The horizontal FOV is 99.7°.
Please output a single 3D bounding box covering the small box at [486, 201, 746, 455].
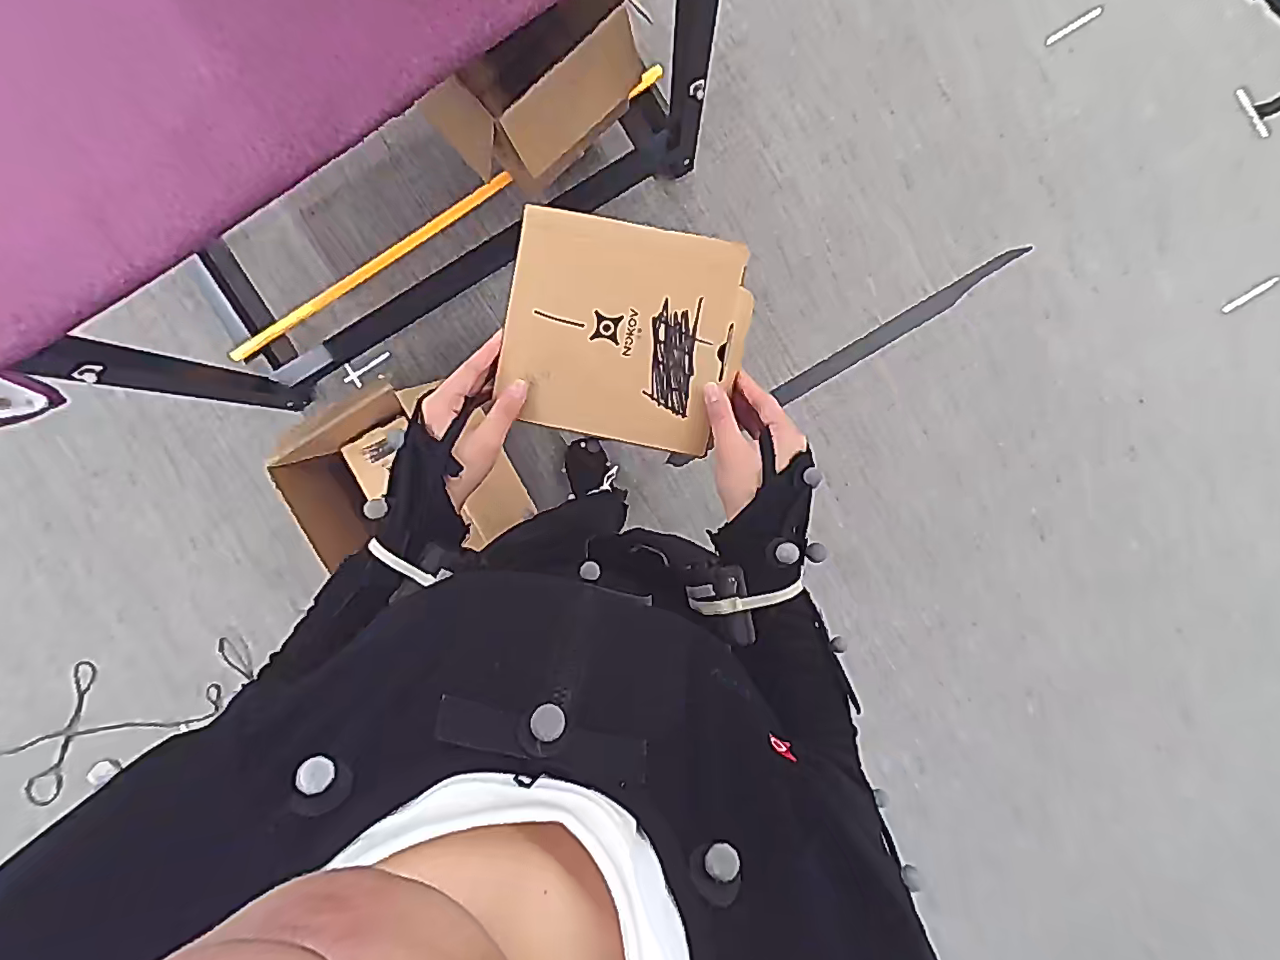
[{"bbox_3d":[-0.017,-0.122,0.494,0.179,0.176,0.168,12,94,2],"label":"small box"}]
